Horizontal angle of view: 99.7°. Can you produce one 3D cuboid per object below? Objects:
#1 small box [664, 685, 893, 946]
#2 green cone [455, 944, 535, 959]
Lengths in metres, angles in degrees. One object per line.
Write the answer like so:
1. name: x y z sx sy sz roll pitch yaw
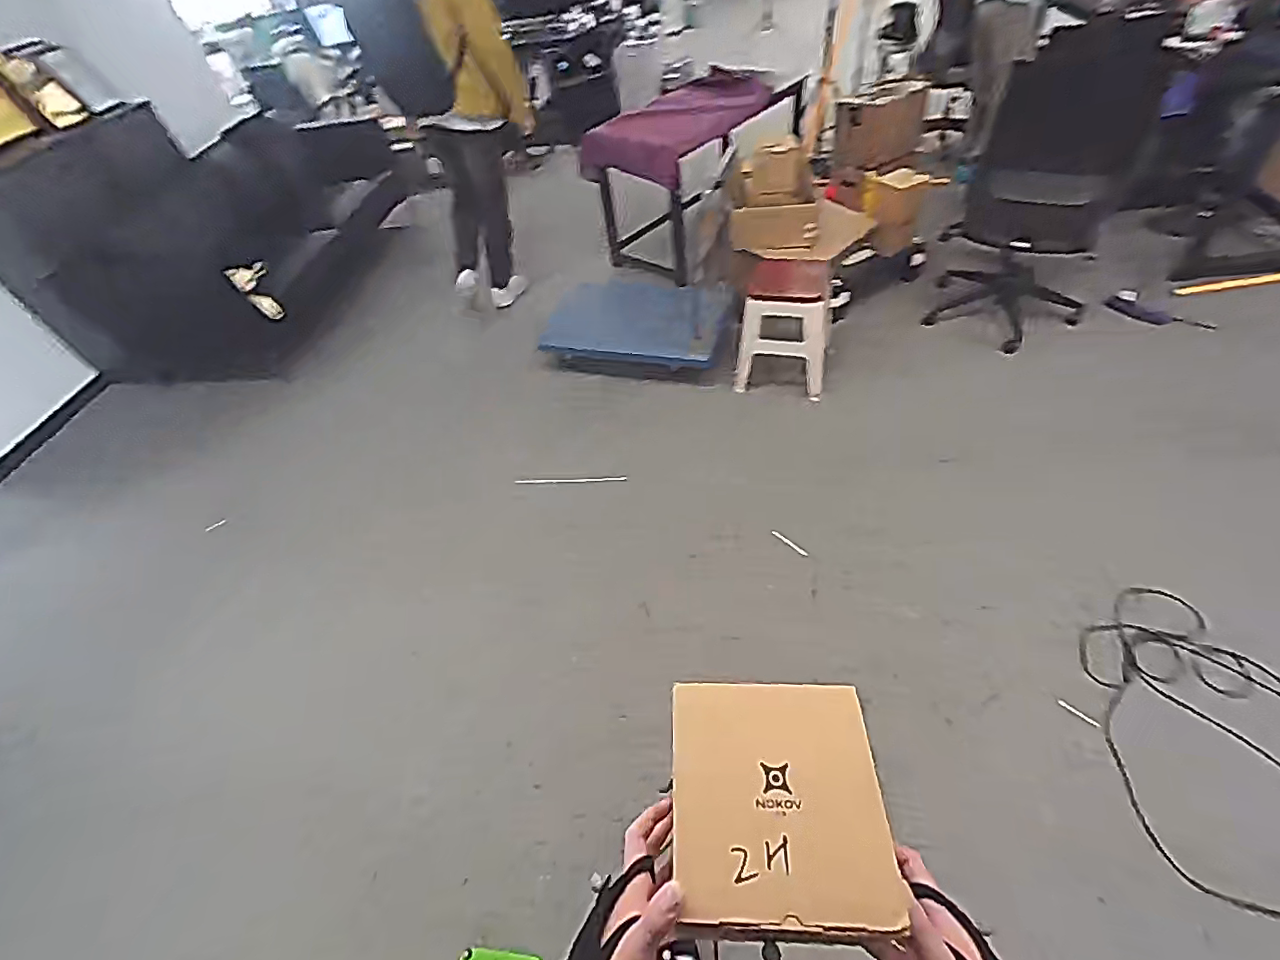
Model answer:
1. small box: 0.106 0.311 0.503 0.168 0.176 0.179 0 48 4
2. green cone: -0.361 1.065 1.075 0.202 0.368 0.200 0 50 9
